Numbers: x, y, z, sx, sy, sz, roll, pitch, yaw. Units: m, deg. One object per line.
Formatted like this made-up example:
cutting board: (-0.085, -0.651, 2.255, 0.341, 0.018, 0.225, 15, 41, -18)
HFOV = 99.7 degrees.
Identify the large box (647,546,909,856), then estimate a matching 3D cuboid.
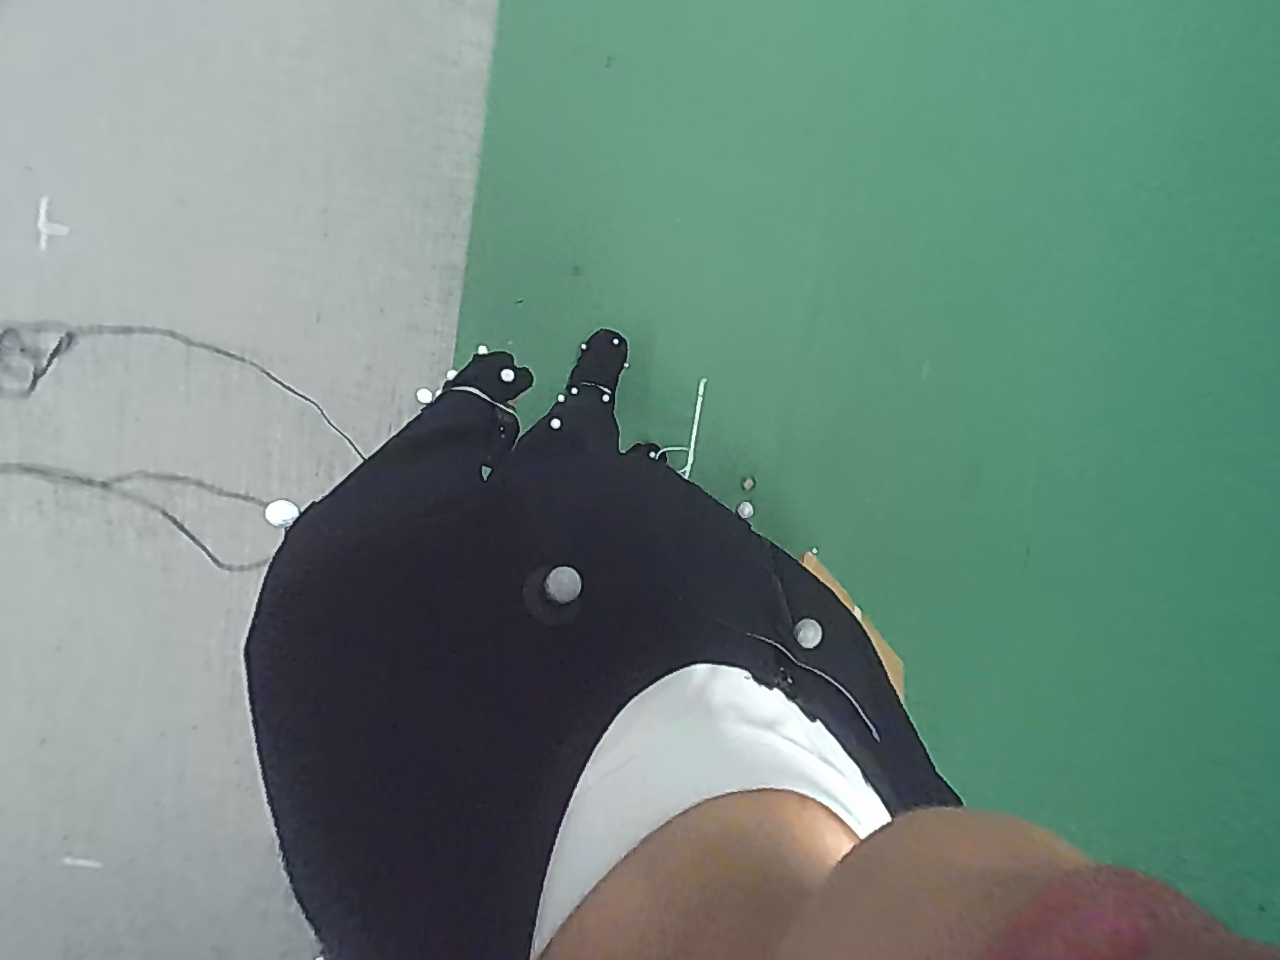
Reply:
large box: (0.275, 0.400, 1.040, 0.320, 0.408, 0.320, -41, 88, 30)
